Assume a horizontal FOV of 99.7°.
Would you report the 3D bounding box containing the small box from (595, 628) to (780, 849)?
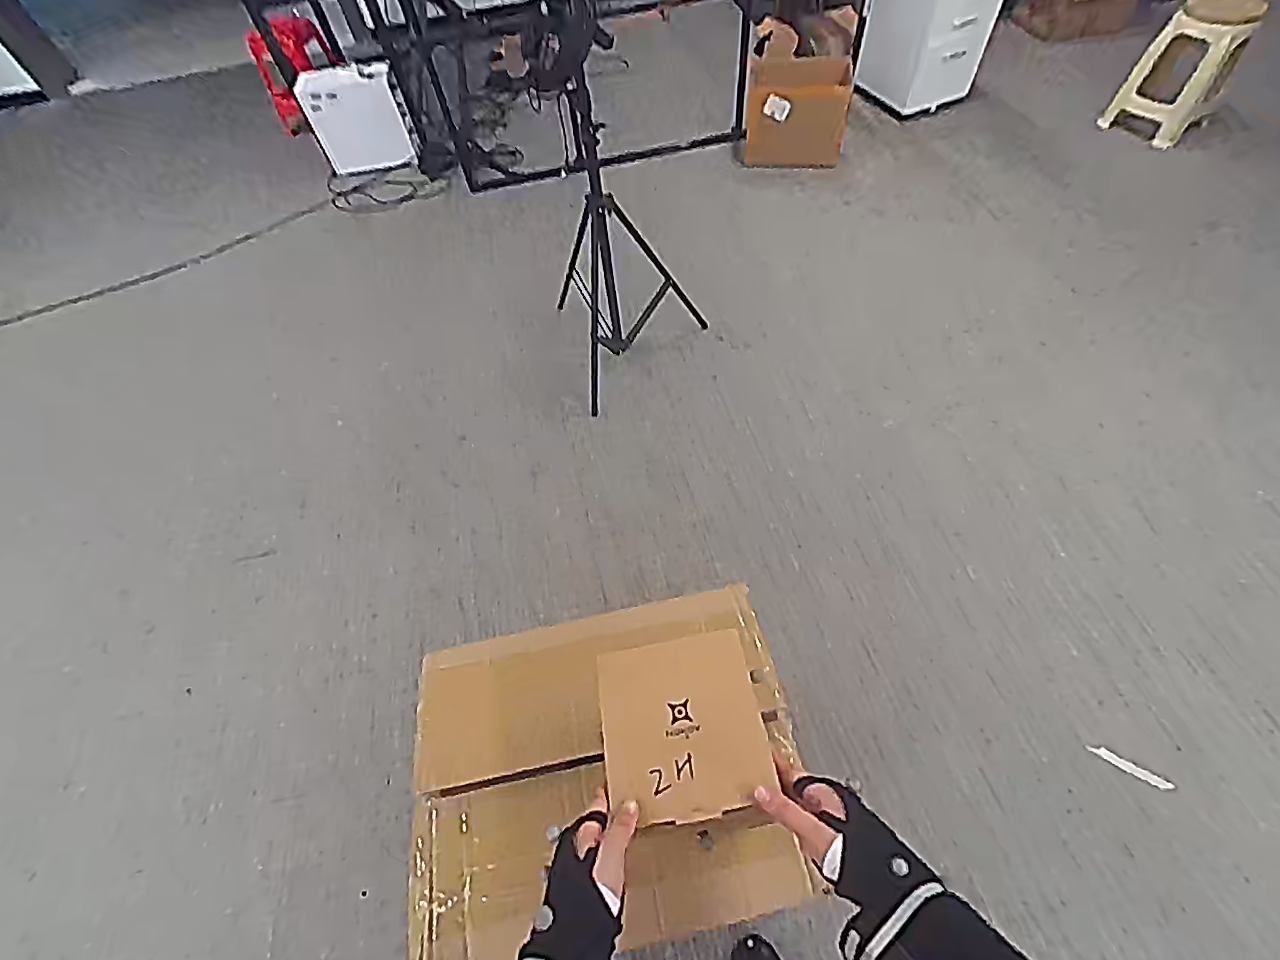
[{"bbox_3d":[0.050,0.297,0.616,0.168,0.176,0.179,-12,51,1],"label":"small box"}]
